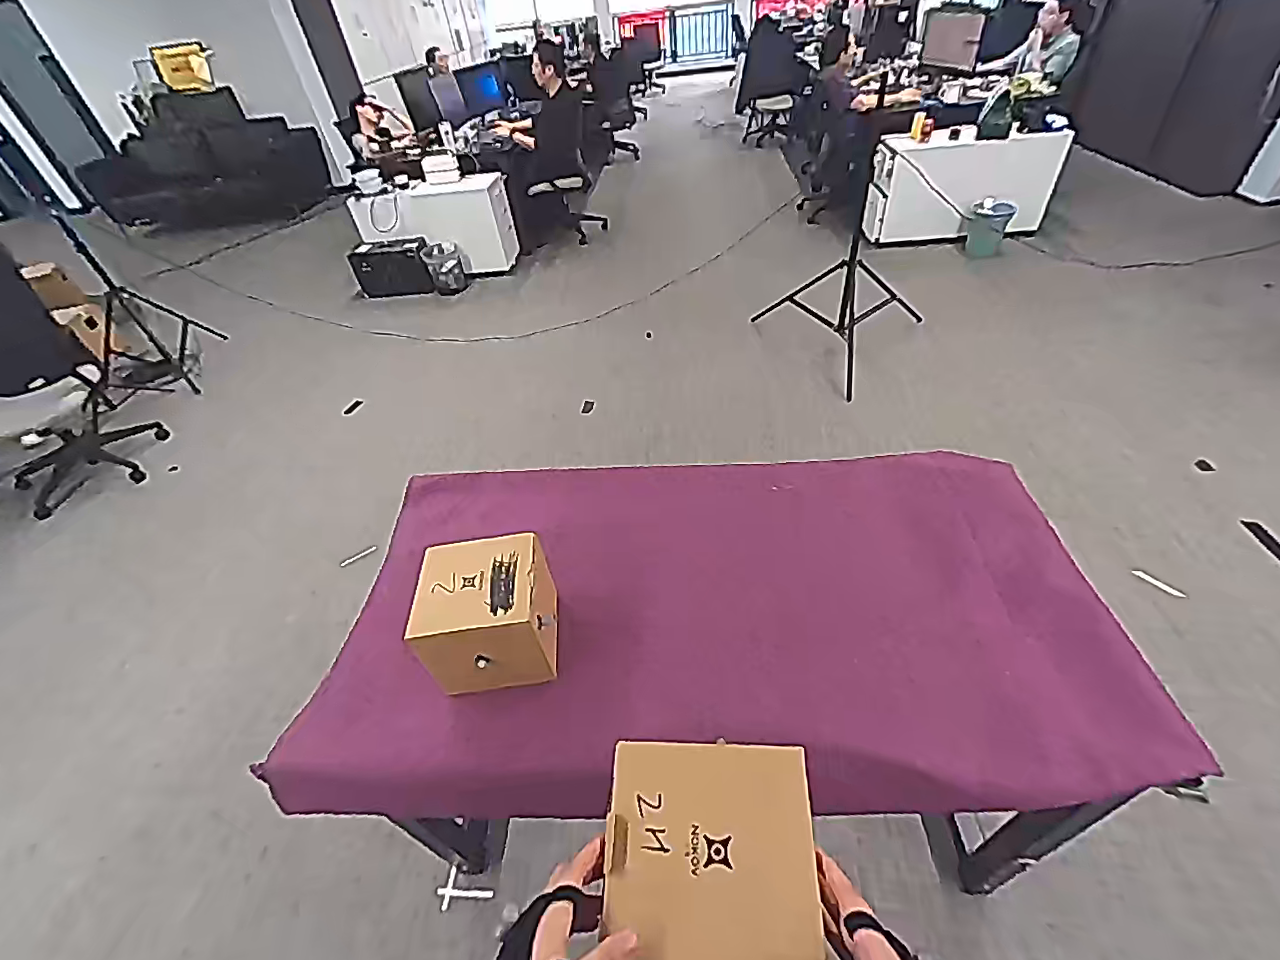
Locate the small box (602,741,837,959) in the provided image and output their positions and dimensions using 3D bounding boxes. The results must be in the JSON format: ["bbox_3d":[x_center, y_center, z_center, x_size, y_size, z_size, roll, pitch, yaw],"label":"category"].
[{"bbox_3d":[0.075,0.359,0.507,0.179,0.176,0.168,-4,48,10],"label":"small box"}]
